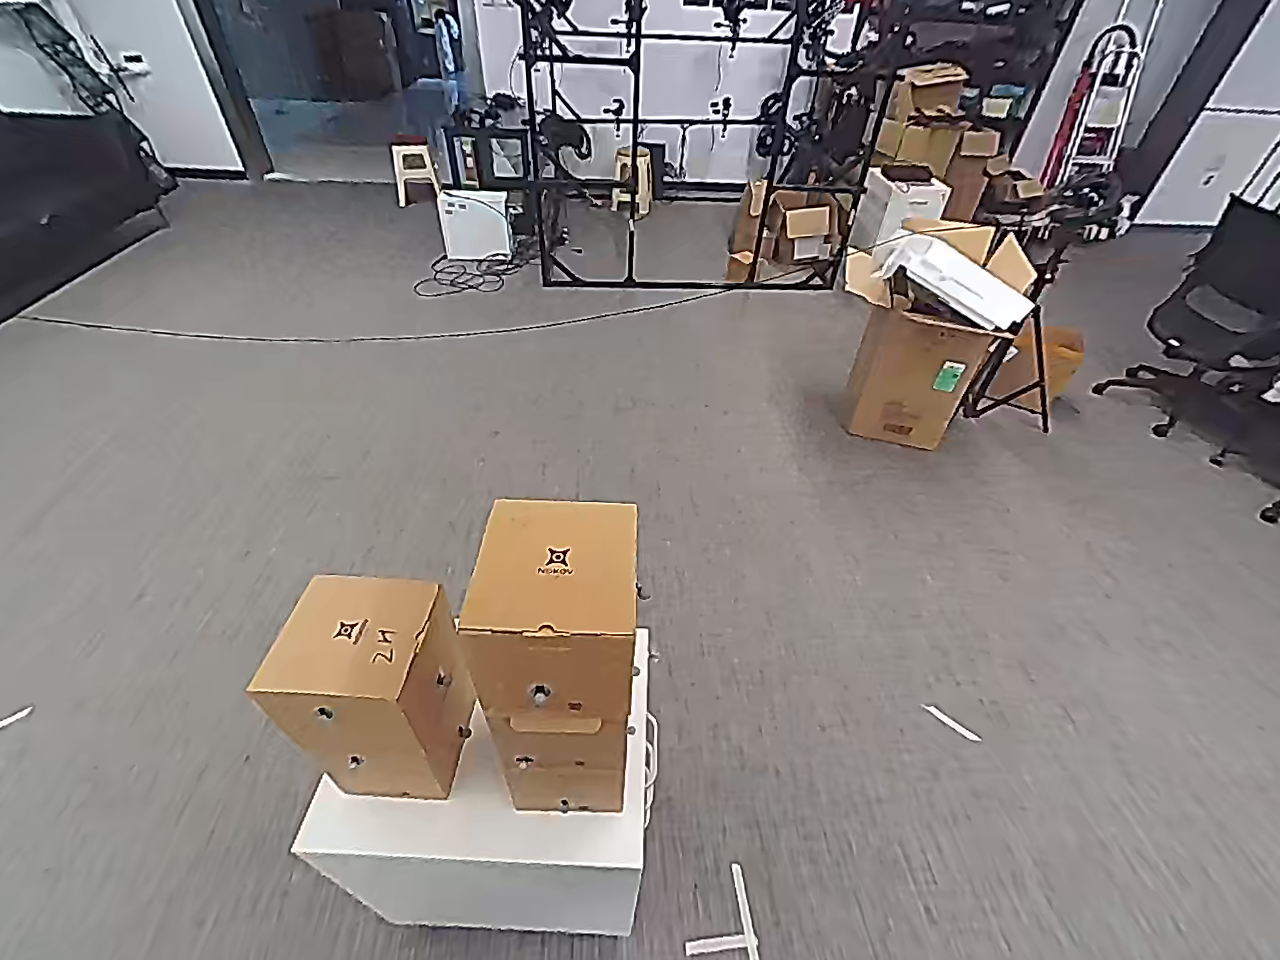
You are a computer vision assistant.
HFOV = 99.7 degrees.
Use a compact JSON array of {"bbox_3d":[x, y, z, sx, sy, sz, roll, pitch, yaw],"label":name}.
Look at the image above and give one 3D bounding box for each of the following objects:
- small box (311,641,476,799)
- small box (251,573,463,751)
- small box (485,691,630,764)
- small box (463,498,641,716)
[{"bbox_3d":[-0.363,0.363,0.838,0.168,0.176,0.179,4,41,1],"label":"small box"},{"bbox_3d":[-0.356,0.244,0.723,0.179,0.176,0.168,4,43,0],"label":"small box"},{"bbox_3d":[-0.095,0.261,0.725,0.168,0.176,0.179,2,42,-1],"label":"small box"},{"bbox_3d":[-0.086,0.143,0.614,0.168,0.176,0.179,2,43,-1],"label":"small box"}]
